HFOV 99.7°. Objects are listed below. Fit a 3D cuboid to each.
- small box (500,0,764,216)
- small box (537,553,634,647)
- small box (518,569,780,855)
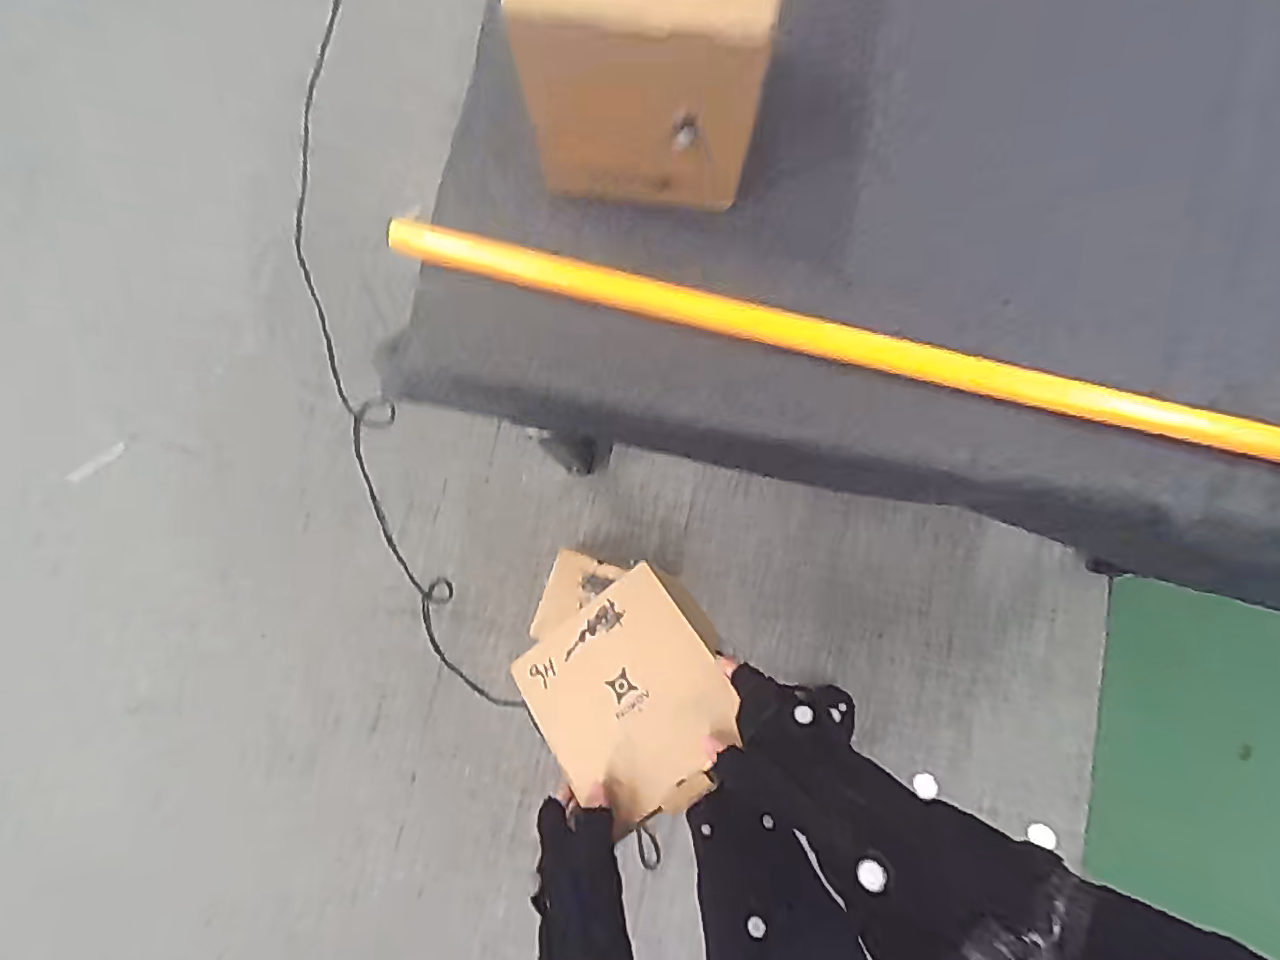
[{"bbox_3d":[0.004,-0.337,0.422,0.168,0.176,0.179,6,80,1],"label":"small box"},{"bbox_3d":[-0.086,0.254,1.078,0.168,0.176,0.179,18,84,5],"label":"small box"},{"bbox_3d":[0.020,0.214,0.537,0.168,0.176,0.179,-42,64,2],"label":"small box"}]
